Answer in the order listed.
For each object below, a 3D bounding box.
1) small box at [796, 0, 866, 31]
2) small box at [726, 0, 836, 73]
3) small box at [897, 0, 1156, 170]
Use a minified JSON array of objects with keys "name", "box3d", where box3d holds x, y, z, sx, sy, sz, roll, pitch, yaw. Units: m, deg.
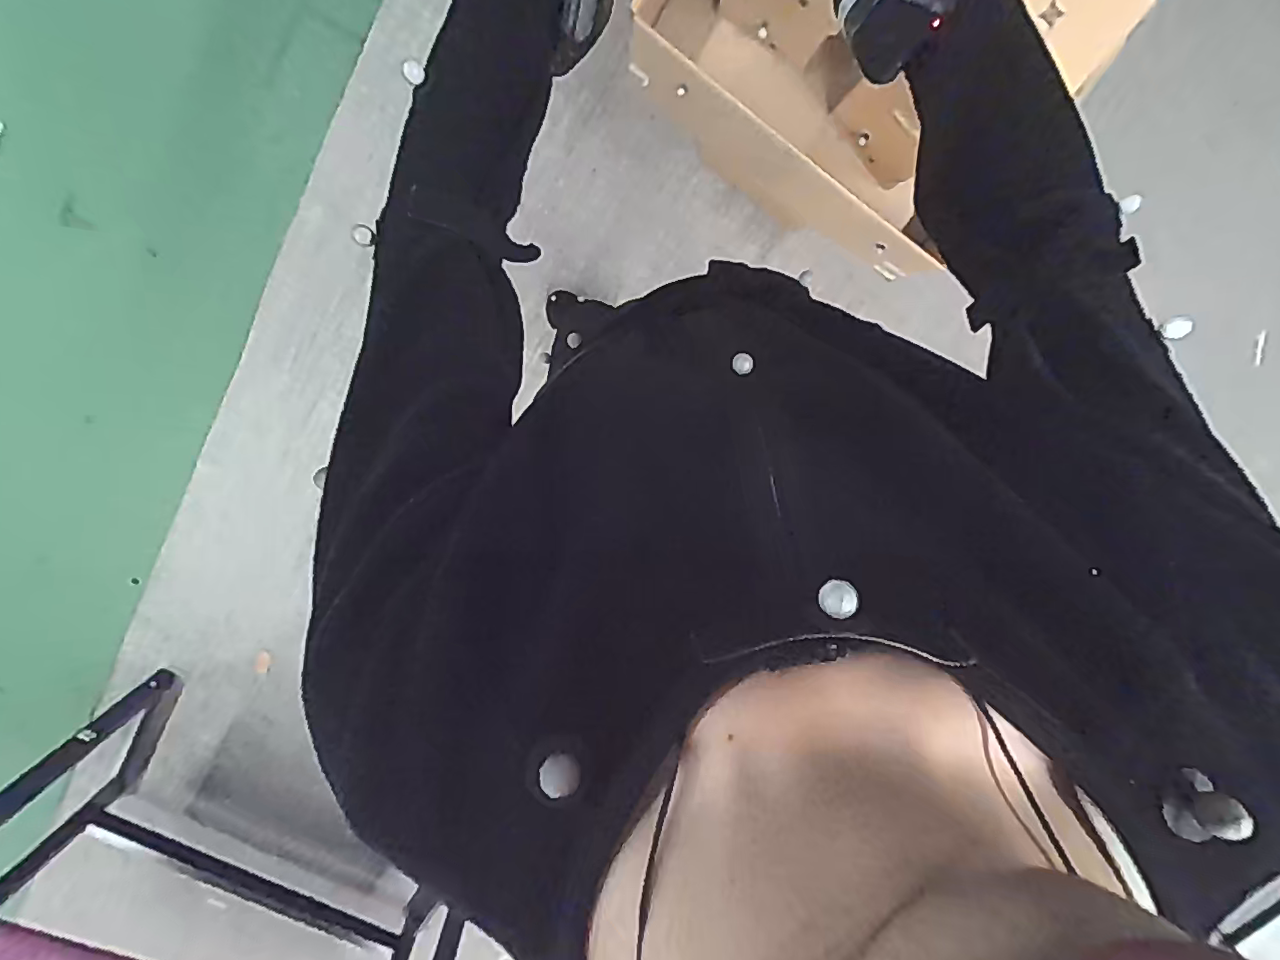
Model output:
[{"name":"small box","box3d":[0.244,-0.684,0.625,0.168,0.176,0.179,29,105,-10]},{"name":"small box","box3d":[0.242,-0.748,0.777,0.168,0.176,0.179,29,105,-9]},{"name":"small box","box3d":[0.457,-0.531,0.678,0.168,0.176,0.179,38,103,-12]}]
